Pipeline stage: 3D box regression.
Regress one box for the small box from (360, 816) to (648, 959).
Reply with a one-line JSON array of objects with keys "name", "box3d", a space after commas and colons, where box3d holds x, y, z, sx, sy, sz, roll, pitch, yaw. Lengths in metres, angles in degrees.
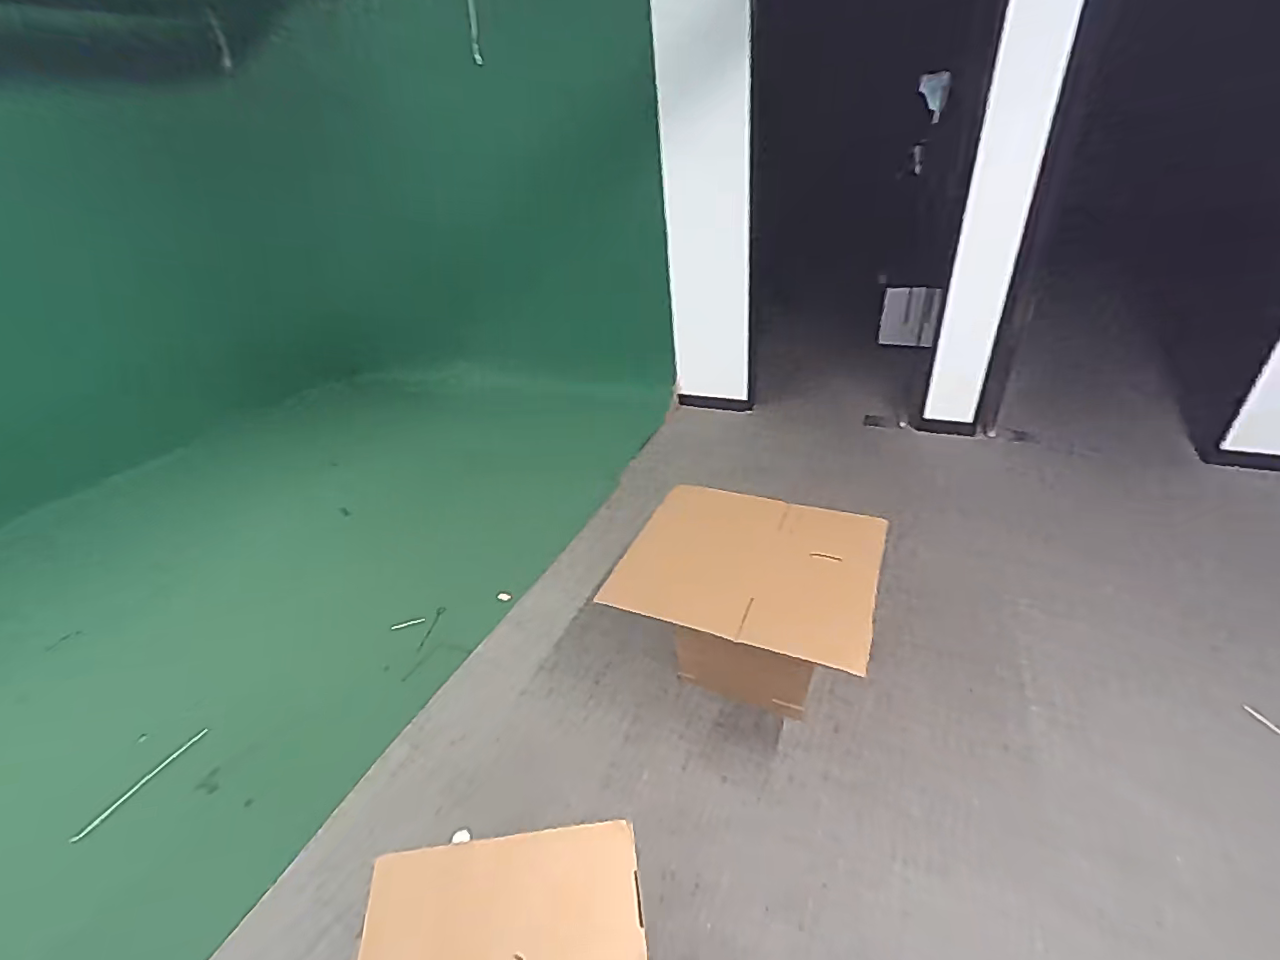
[{"name": "small box", "box3d": [-0.081, 0.356, 0.374, 0.179, 0.176, 0.168, -4, 45, -4]}]
